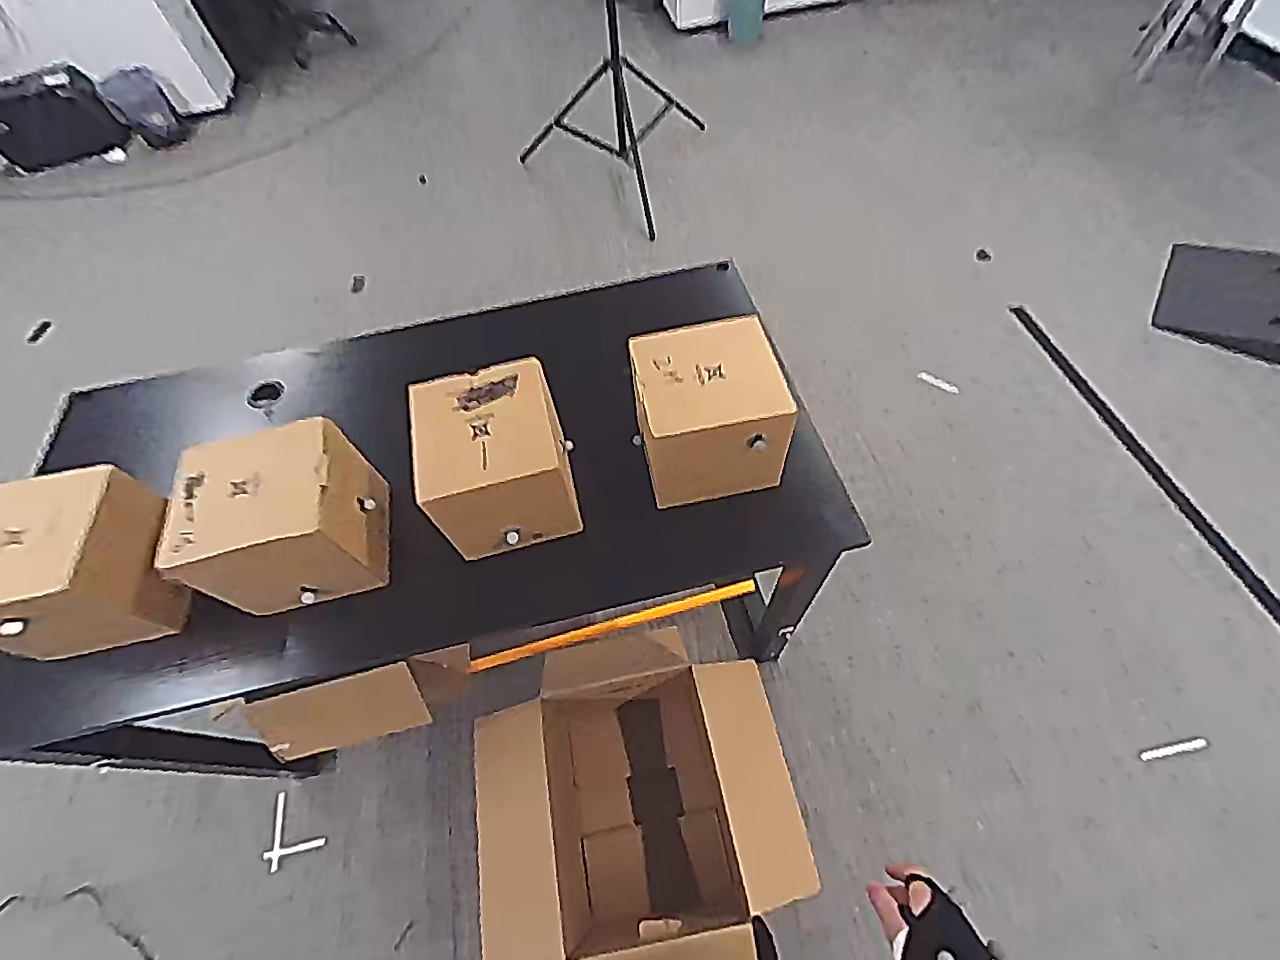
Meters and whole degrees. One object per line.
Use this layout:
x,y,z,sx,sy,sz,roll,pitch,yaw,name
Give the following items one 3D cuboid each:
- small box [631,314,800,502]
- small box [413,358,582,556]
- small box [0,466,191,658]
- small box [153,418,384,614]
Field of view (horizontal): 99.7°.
0.091,-0.090,0.721,0.179,0.176,0.168,-11,58,-2,small box
-0.181,-0.025,0.706,0.168,0.176,0.179,-15,59,-4,small box
-0.698,0.108,0.665,0.179,0.176,0.168,-11,59,-3,small box
-0.441,0.050,0.681,0.179,0.176,0.168,-13,59,-5,small box
